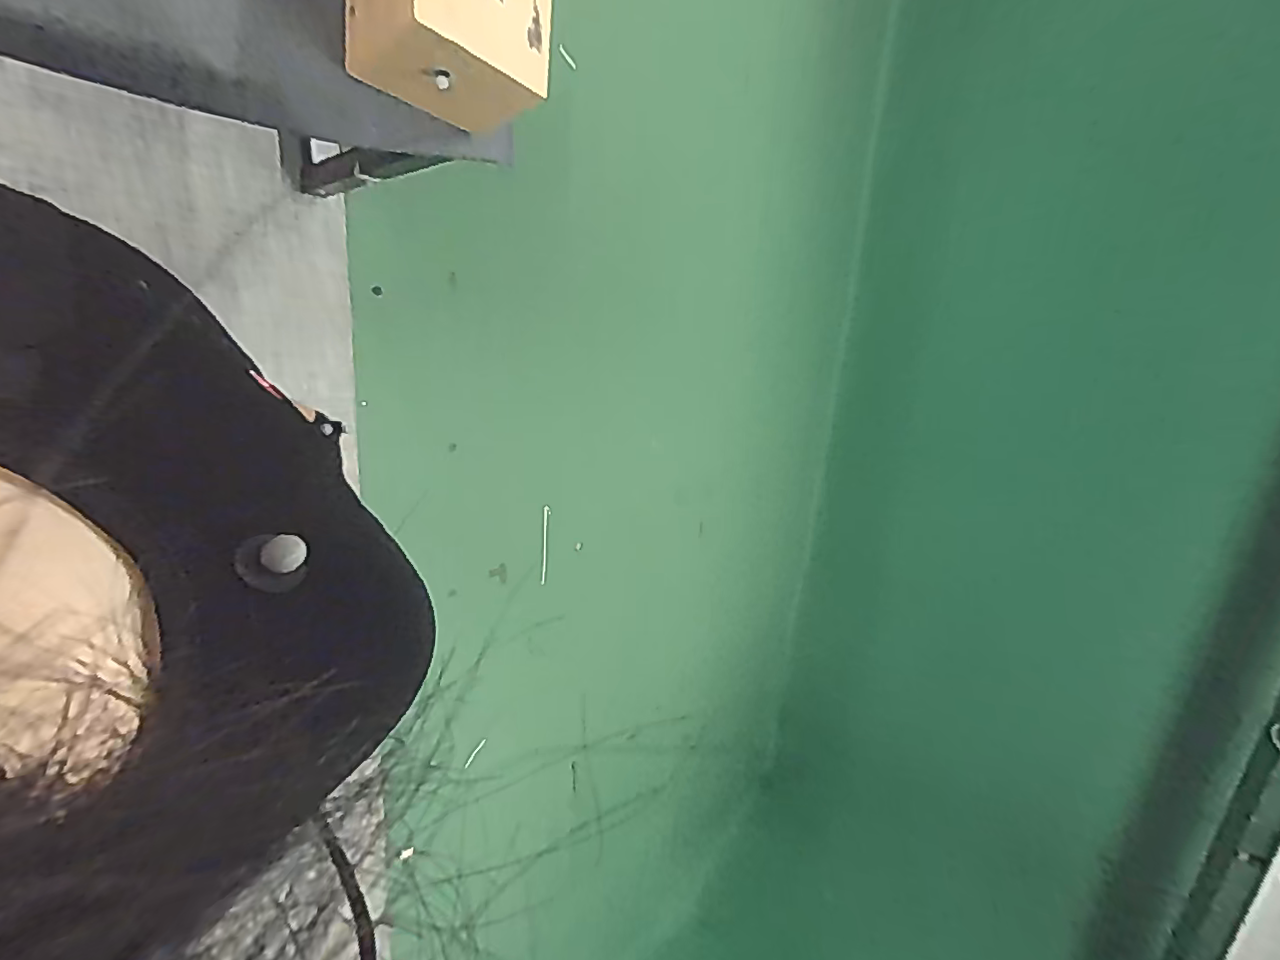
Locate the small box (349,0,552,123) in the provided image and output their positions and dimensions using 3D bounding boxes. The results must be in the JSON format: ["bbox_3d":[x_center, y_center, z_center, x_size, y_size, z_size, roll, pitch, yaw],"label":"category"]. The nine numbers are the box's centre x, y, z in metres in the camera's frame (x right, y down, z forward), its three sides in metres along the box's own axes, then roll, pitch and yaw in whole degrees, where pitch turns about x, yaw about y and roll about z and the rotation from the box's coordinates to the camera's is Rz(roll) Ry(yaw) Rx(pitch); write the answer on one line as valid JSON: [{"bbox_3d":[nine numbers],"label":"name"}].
[{"bbox_3d":[-0.225,-0.559,0.639,0.179,0.176,0.168,-4,103,-48],"label":"small box"}]
